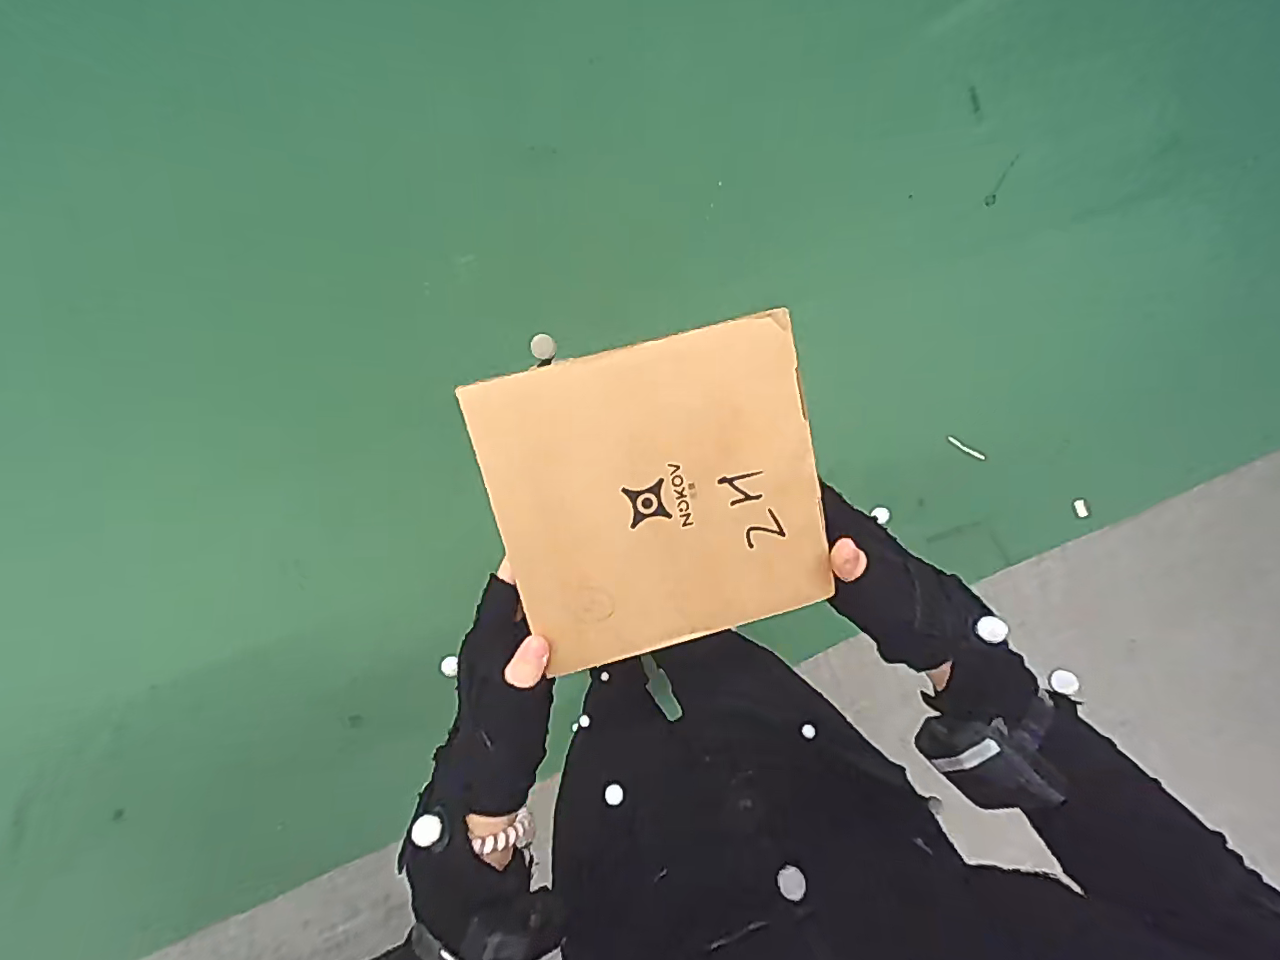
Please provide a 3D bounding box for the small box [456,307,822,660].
[{"bbox_3d":[-0.003,-0.009,0.374,0.179,0.176,0.168,-15,103,-5],"label":"small box"}]
